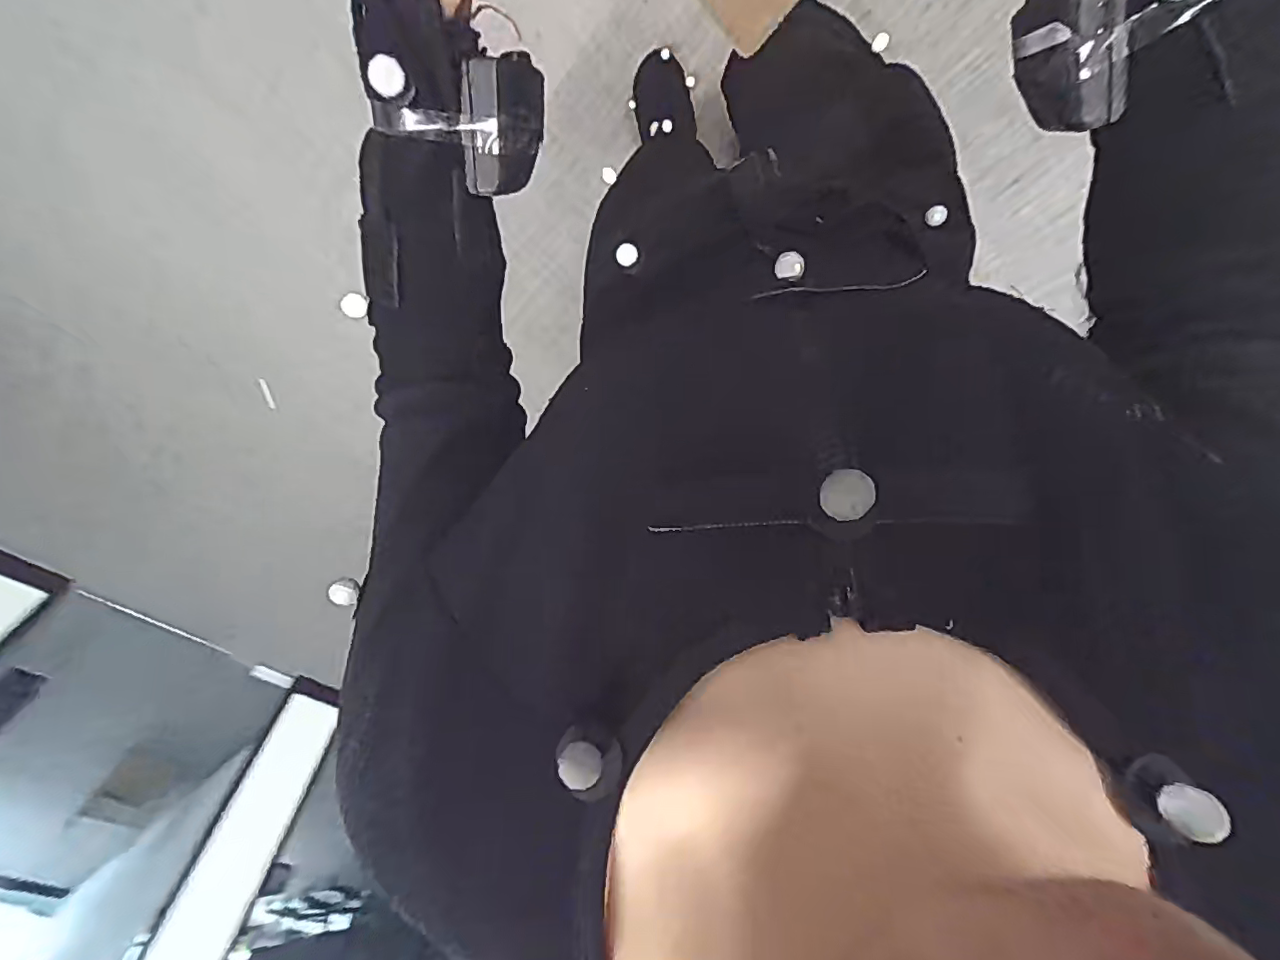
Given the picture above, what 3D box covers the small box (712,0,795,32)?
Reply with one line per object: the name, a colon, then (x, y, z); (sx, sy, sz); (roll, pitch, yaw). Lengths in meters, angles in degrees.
small box: (0.049, -0.279, 0.153); (0.168, 0.176, 0.179); (41, 119, -19)
